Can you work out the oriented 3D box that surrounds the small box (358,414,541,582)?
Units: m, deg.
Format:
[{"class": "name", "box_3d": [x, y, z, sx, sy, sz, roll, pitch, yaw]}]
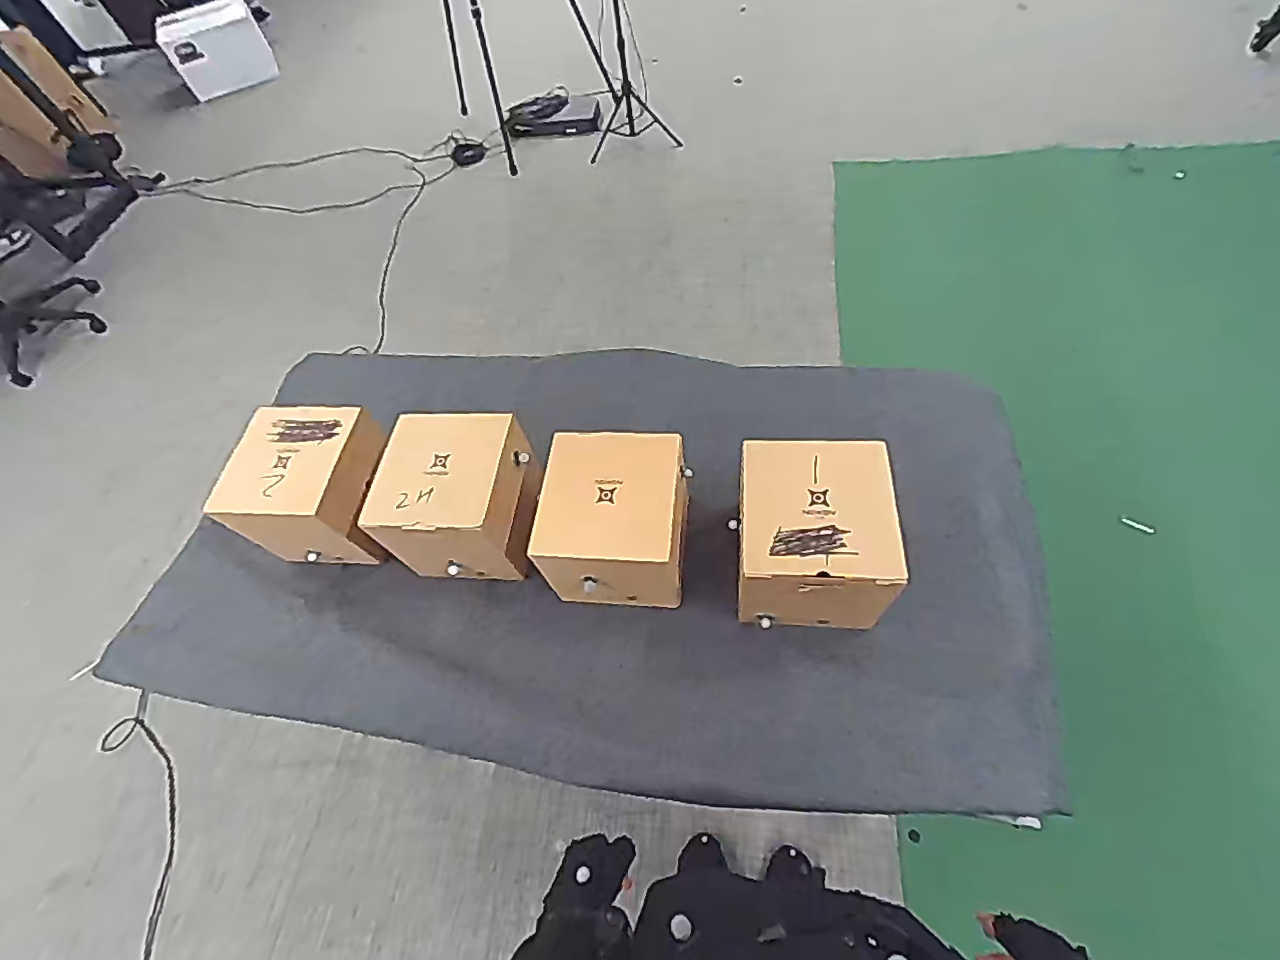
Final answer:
[{"class": "small box", "box_3d": [-0.246, 0.027, 0.755, 0.168, 0.176, 0.179, 1, 59, 9]}]

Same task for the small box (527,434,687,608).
[{"class": "small box", "box_3d": [-0.029, 0.058, 0.705, 0.168, 0.176, 0.179, 1, 58, 10]}]
